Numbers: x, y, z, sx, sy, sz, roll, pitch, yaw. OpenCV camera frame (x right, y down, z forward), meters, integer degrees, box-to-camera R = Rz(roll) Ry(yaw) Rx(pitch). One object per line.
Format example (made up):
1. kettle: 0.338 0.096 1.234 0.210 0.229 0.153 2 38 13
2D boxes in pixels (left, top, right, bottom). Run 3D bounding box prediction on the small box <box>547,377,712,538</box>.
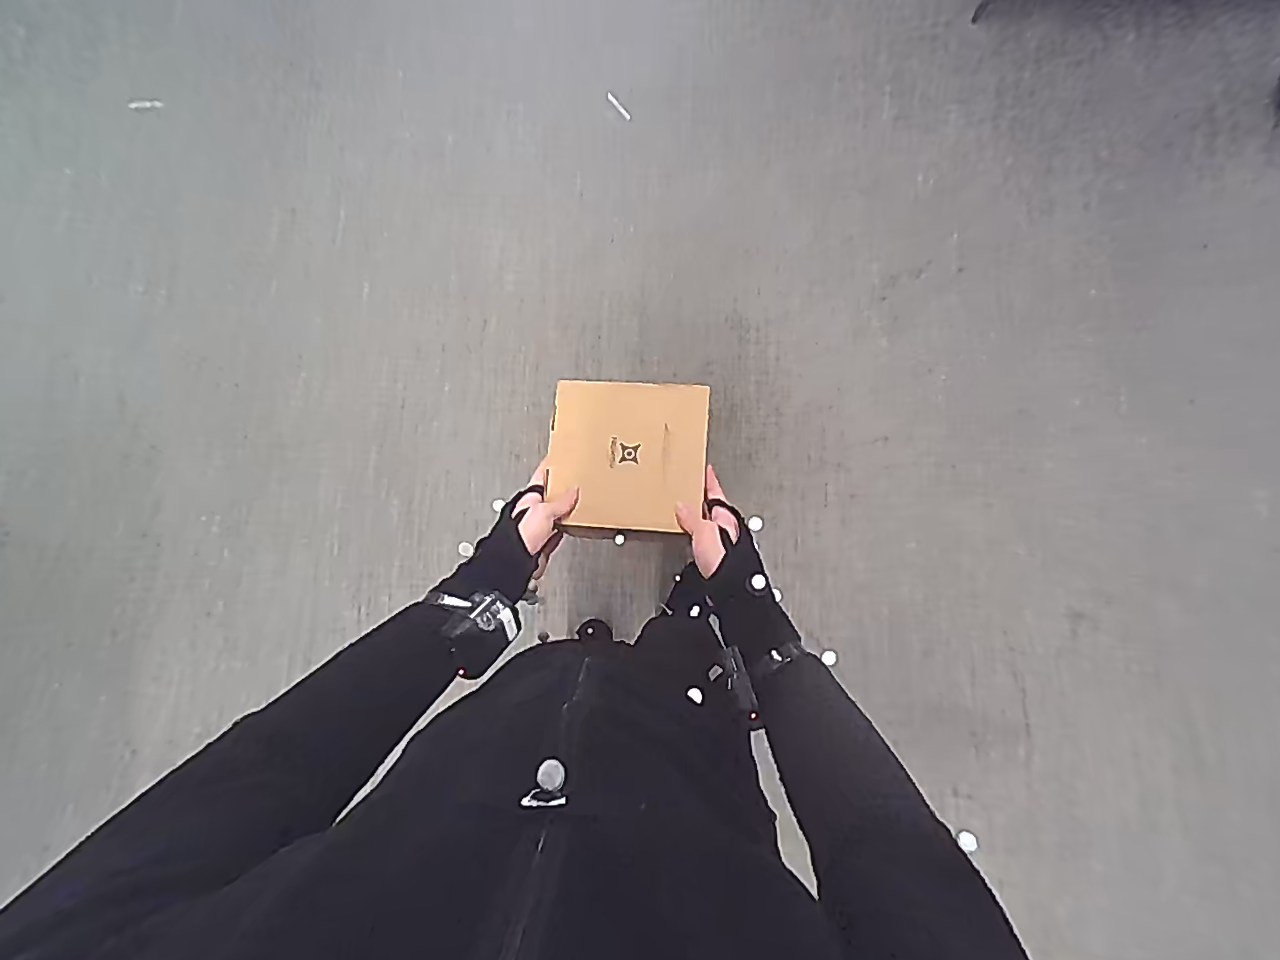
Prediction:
1. small box: -0.003 -0.019 0.674 0.179 0.176 0.168 3 79 6
